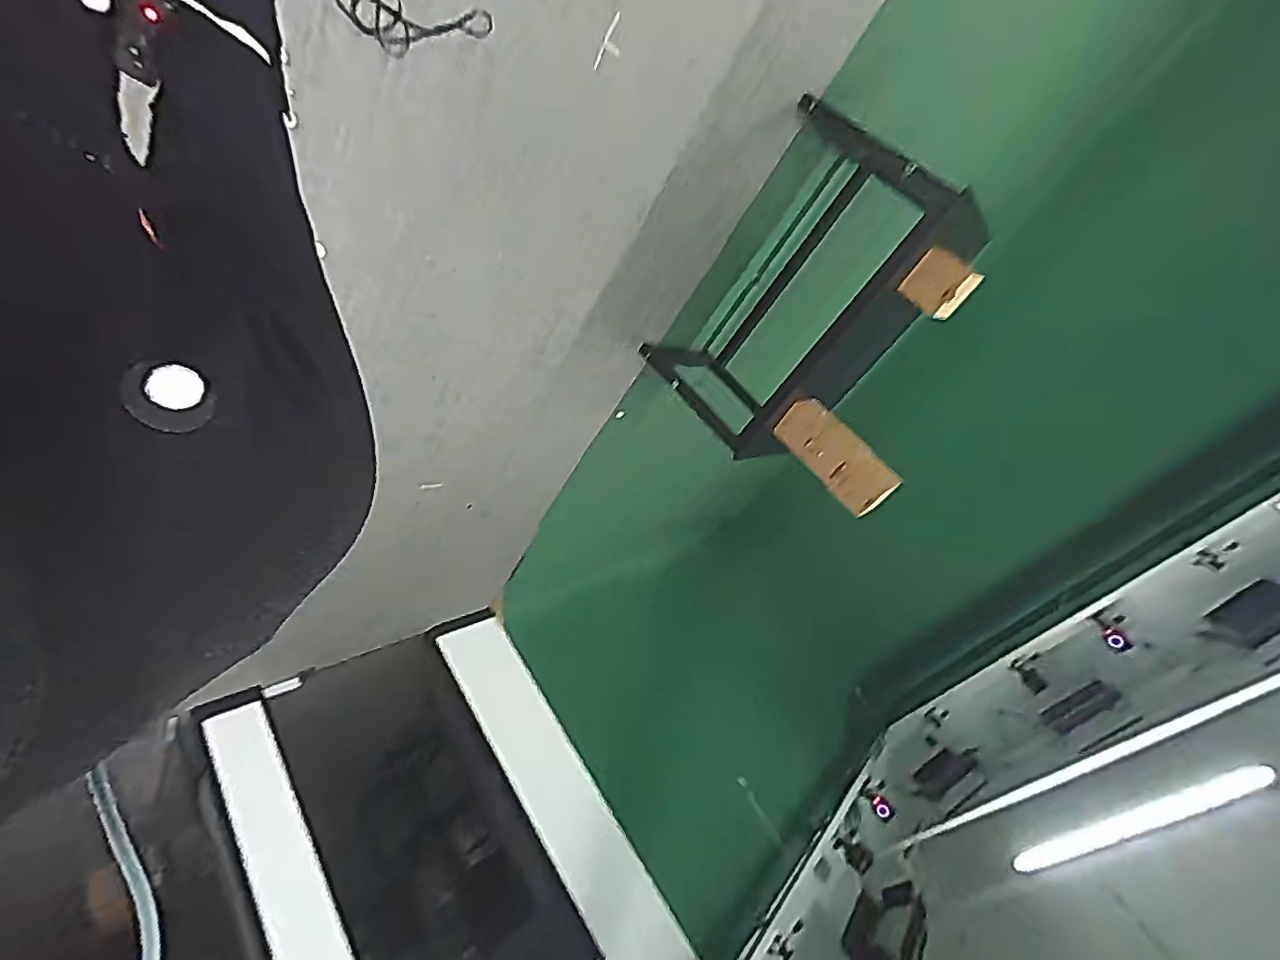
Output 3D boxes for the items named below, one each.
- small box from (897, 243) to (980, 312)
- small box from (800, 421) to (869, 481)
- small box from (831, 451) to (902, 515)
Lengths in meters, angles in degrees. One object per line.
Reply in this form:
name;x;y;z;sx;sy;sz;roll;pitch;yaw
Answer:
small box;1.060;-0.720;1.923;0.179;0.176;0.168;-15;149;-43
small box;0.794;-0.126;2.216;0.179;0.176;0.168;-16;148;-45
small box;0.896;0.008;2.154;0.179;0.176;0.168;-17;150;-45
